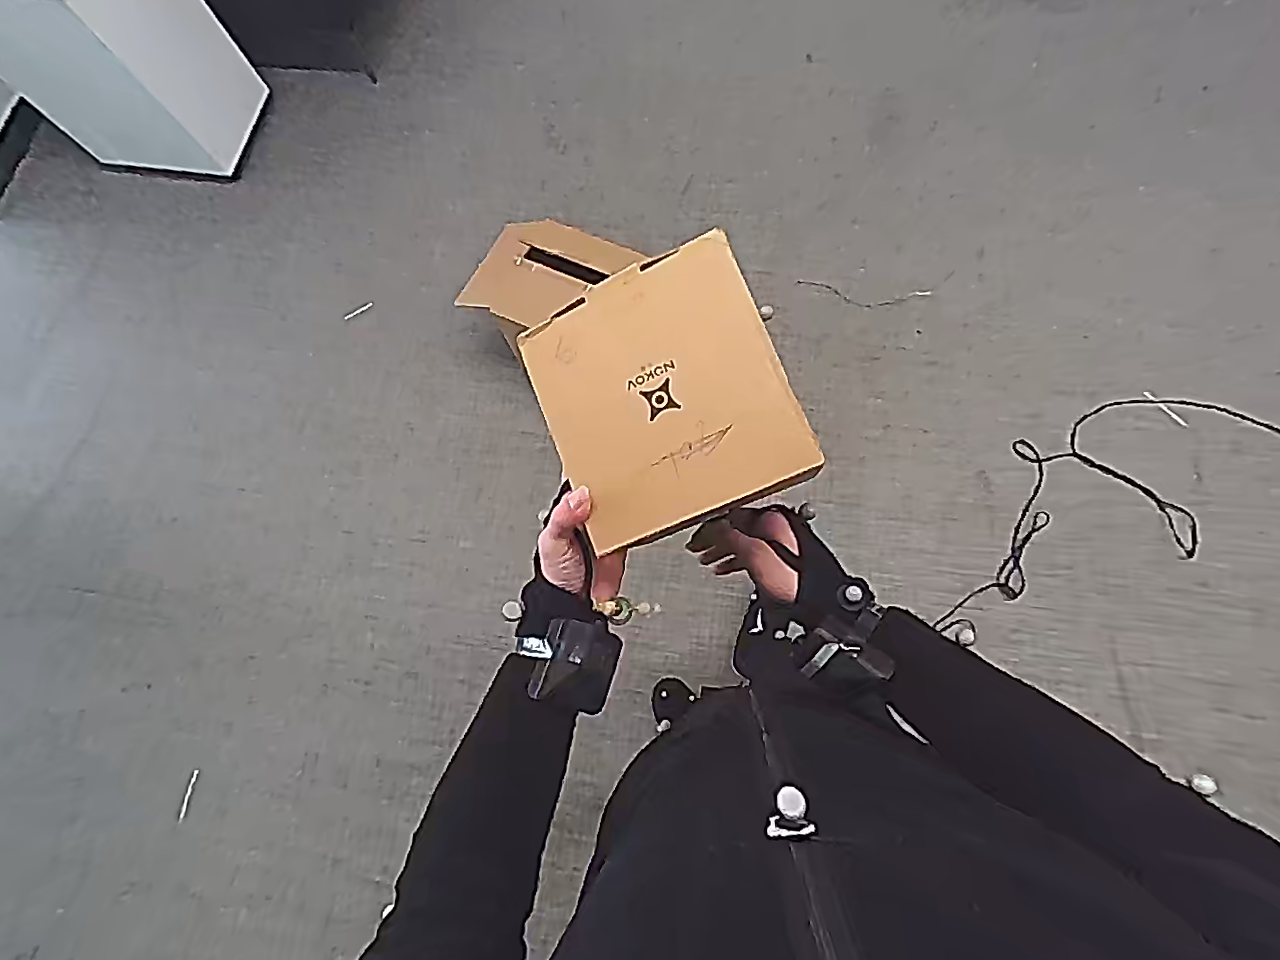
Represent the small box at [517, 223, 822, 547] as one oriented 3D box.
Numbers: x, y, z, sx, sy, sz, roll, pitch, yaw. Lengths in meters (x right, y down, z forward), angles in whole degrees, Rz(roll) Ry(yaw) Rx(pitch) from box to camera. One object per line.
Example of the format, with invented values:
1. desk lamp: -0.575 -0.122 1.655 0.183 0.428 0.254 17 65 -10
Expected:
1. small box: 0.033 -0.055 0.431 0.168 0.176 0.179 -21 81 16
